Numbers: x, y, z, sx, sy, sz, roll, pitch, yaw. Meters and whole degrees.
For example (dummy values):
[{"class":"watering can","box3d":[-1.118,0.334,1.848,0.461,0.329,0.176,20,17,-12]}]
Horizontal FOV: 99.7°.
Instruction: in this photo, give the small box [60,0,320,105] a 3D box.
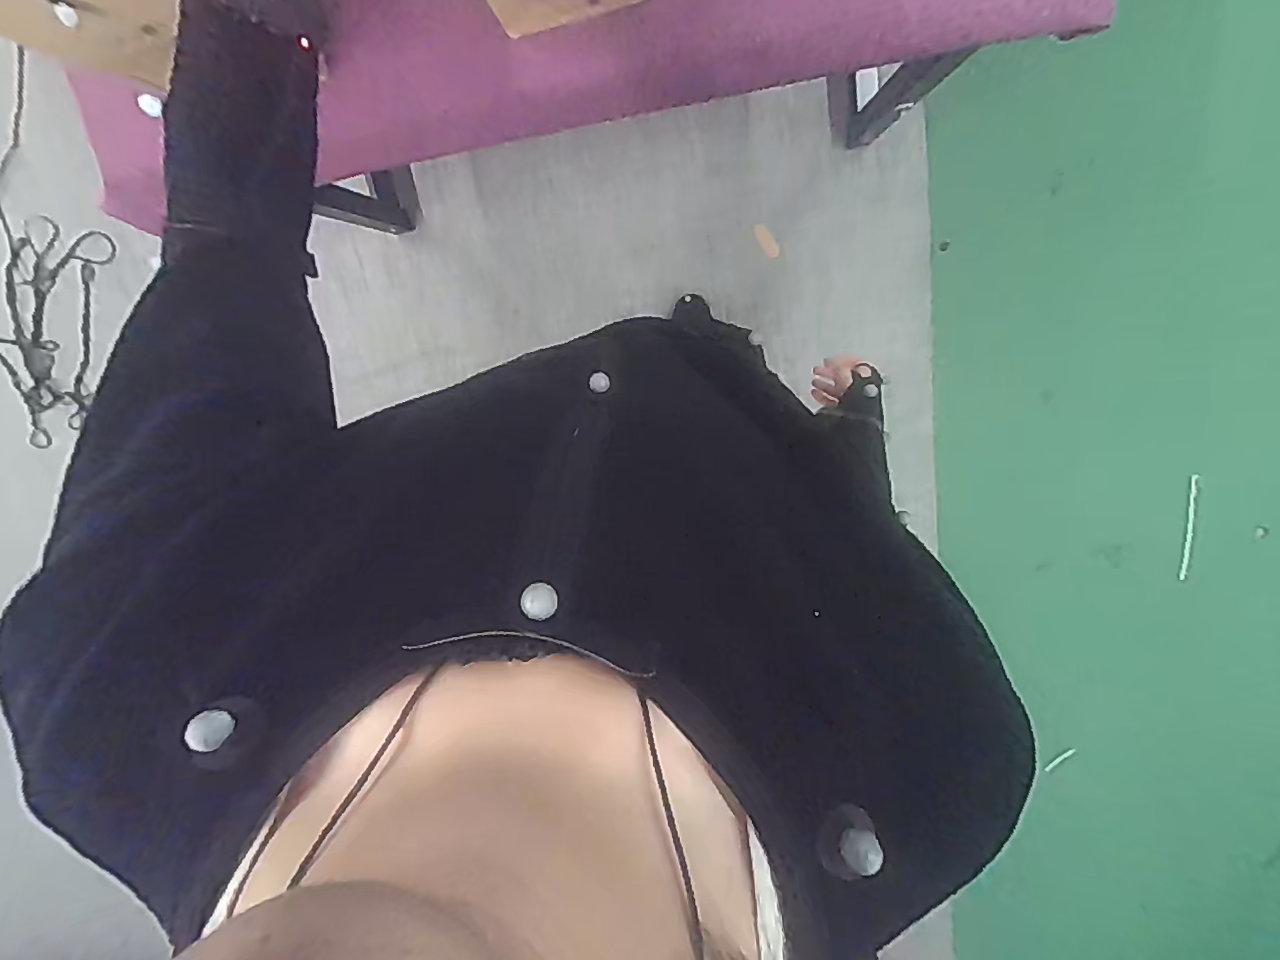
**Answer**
[{"class":"small box","box3d":[-0.476,-0.528,0.554,0.168,0.176,0.179,-10,107,7]}]

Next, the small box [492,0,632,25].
[{"class":"small box","box3d":[-0.093,-0.582,0.516,0.168,0.176,0.179,-10,105,7]}]
